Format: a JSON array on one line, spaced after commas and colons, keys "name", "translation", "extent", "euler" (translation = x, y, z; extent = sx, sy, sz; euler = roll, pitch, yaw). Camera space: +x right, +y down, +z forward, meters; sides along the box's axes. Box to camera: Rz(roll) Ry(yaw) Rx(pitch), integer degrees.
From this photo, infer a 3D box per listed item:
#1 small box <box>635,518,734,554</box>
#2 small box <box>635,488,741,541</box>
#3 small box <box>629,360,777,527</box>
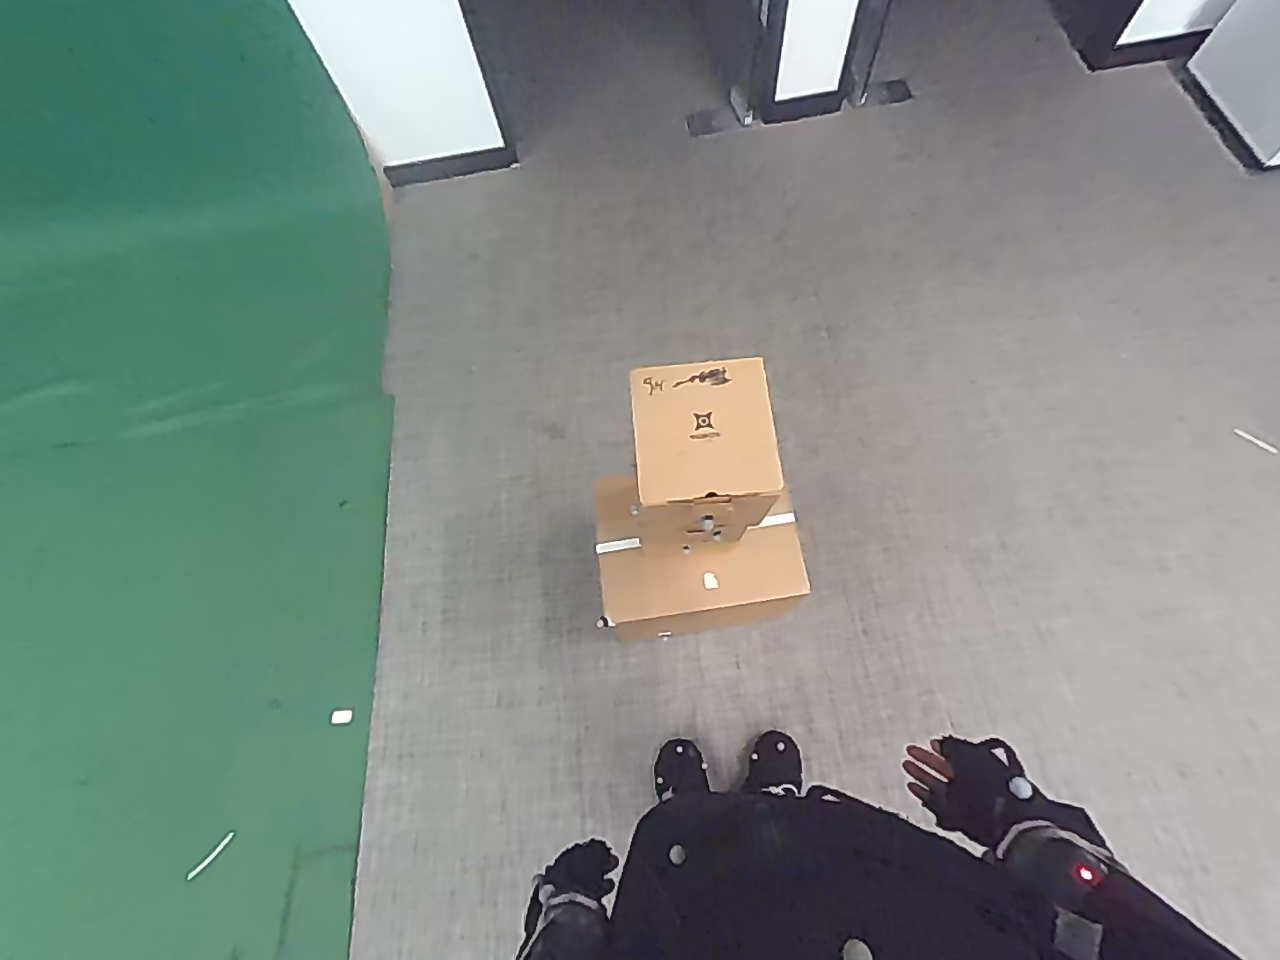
[{"name": "small box", "translation": [0.081, 0.045, 1.032], "extent": [0.179, 0.176, 0.168], "euler": [-3, 71, 3]}, {"name": "small box", "translation": [0.078, 0.002, 0.879], "extent": [0.168, 0.176, 0.179], "euler": [-2, 71, 2]}, {"name": "small box", "translation": [0.077, -0.037, 0.719], "extent": [0.168, 0.176, 0.179], "euler": [-5, 73, 1]}]
